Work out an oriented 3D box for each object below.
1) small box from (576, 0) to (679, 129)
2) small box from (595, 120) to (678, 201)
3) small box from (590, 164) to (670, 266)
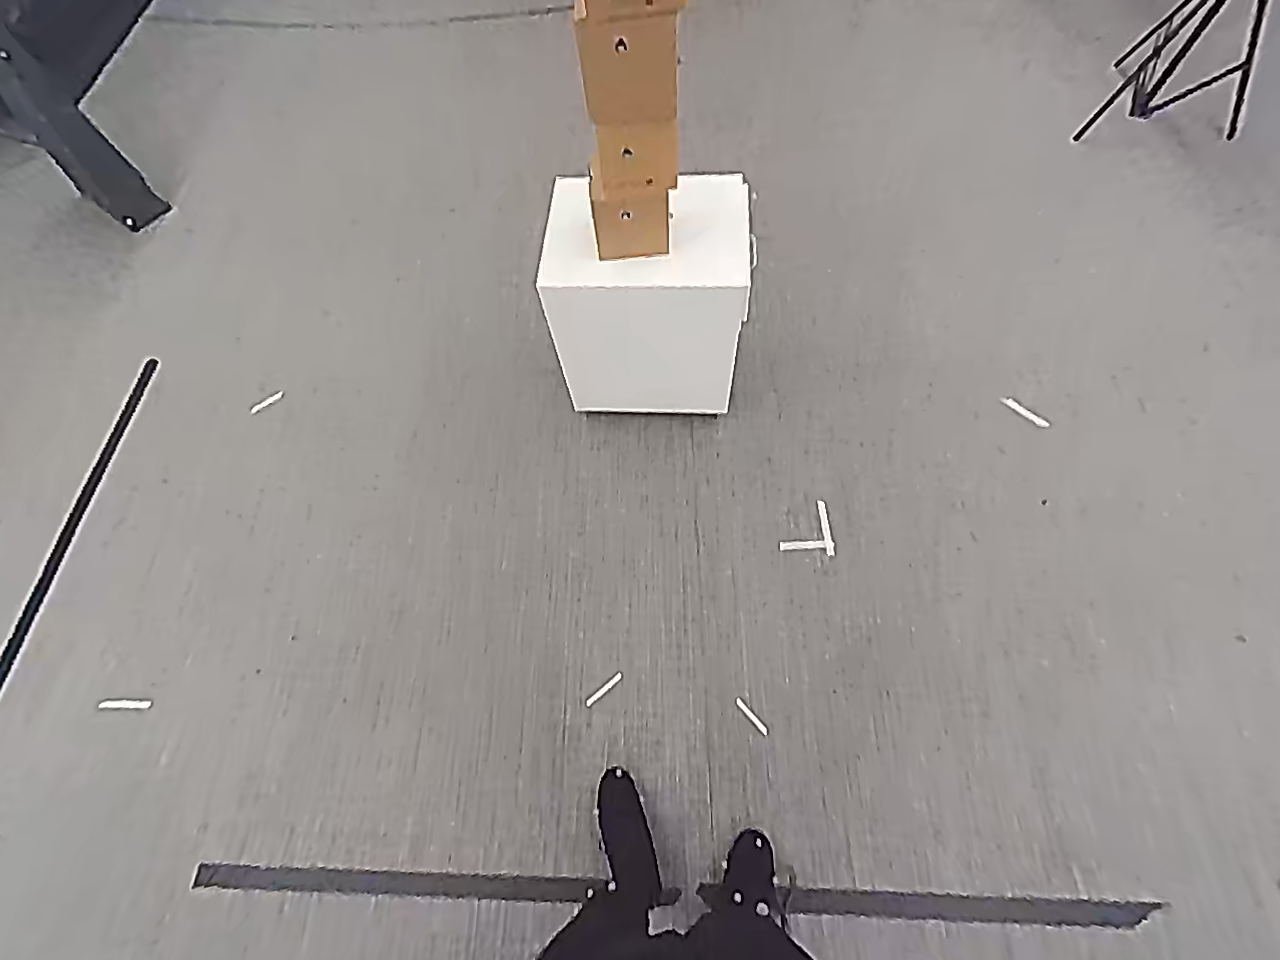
[{"bbox_3d":[-0.017,-0.788,1.013,0.179,0.176,0.168,-1,64,3],"label":"small box"},{"bbox_3d":[-0.005,-0.727,1.167,0.168,0.176,0.179,-4,63,2],"label":"small box"},{"bbox_3d":[-0.021,-0.640,1.306,0.179,0.176,0.168,-5,64,1],"label":"small box"}]
